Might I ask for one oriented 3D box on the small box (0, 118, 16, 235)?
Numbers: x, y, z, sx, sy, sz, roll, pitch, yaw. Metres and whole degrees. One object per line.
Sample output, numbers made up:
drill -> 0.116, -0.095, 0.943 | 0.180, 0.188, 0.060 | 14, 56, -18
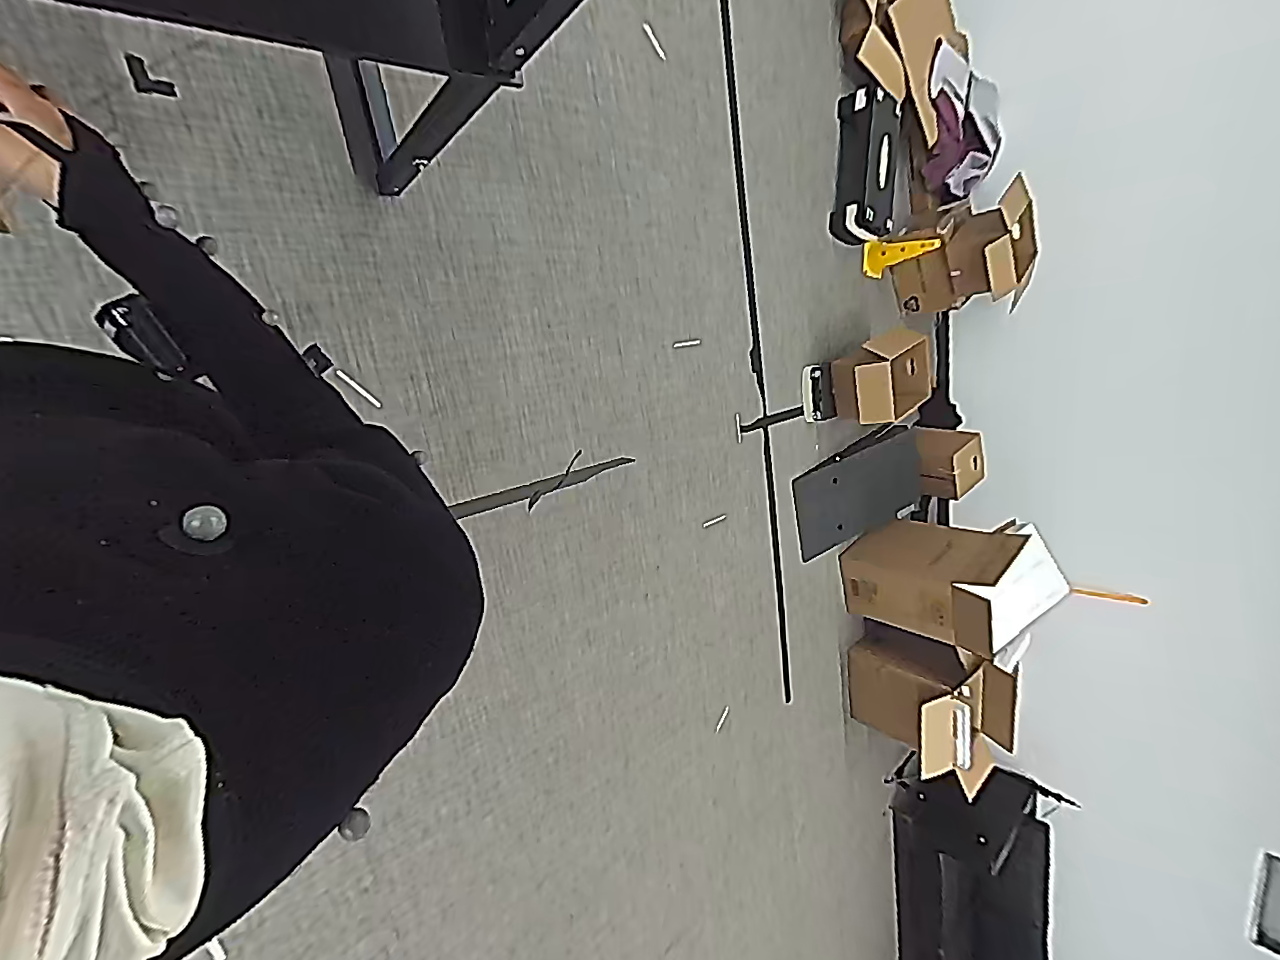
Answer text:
small box -> -0.601, -0.298, 0.393 | 0.168, 0.176, 0.179 | -10, 104, -43
